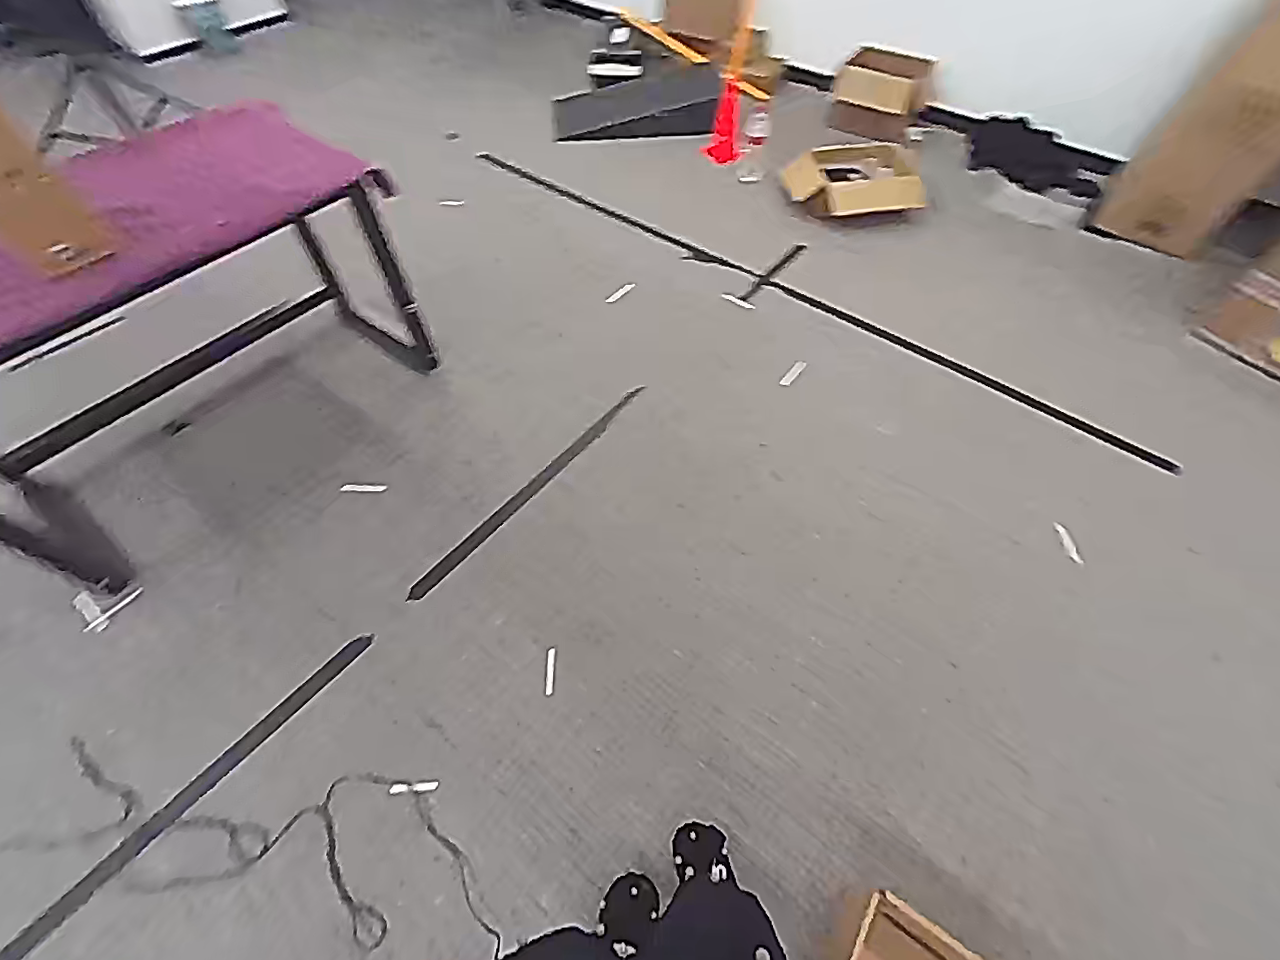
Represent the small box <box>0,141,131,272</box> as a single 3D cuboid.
[{"bbox_3d":[-1.249,-0.573,1.139,0.179,0.176,0.168,36,64,21],"label":"small box"}]
